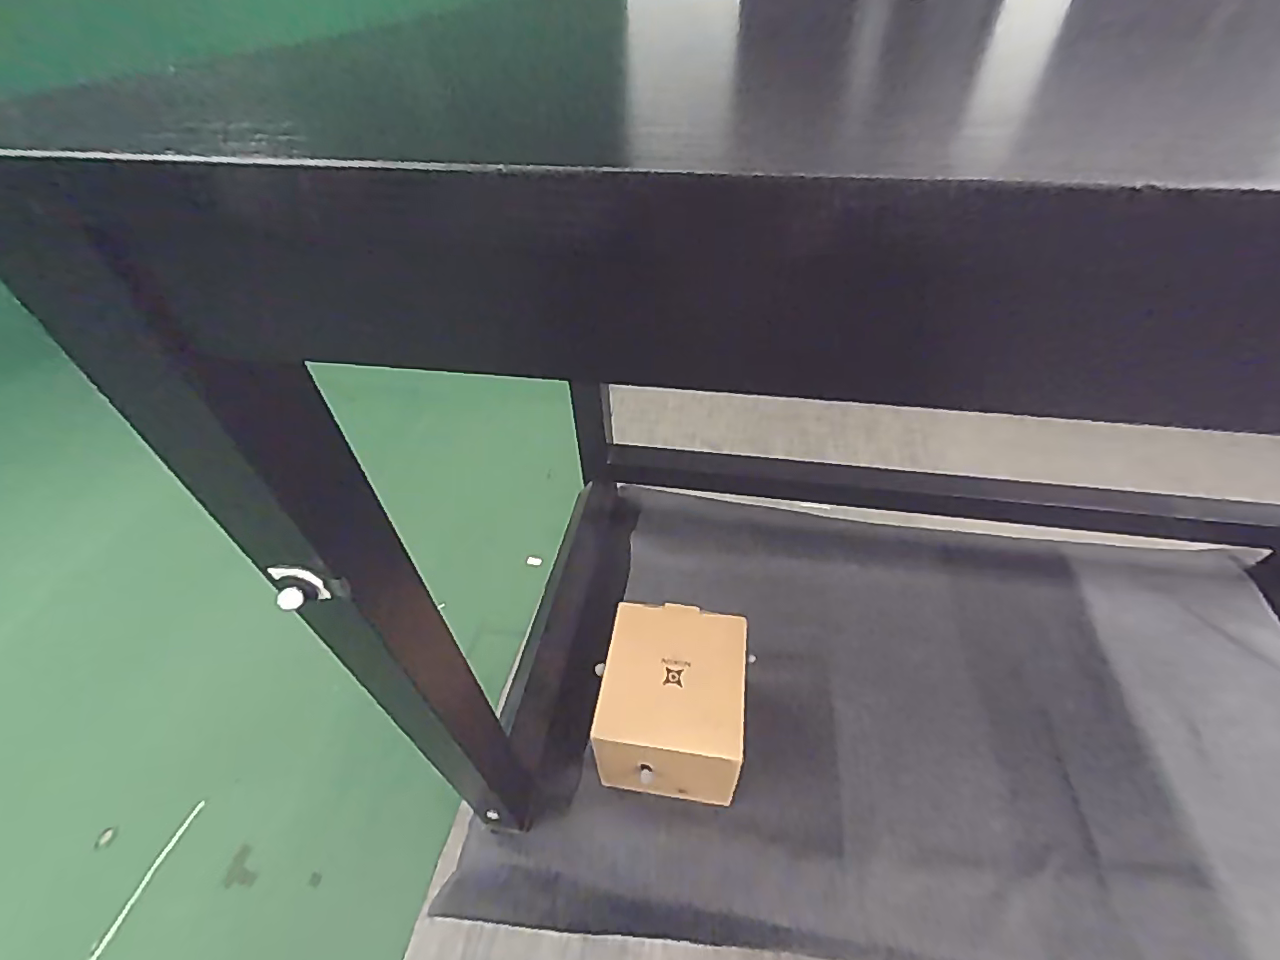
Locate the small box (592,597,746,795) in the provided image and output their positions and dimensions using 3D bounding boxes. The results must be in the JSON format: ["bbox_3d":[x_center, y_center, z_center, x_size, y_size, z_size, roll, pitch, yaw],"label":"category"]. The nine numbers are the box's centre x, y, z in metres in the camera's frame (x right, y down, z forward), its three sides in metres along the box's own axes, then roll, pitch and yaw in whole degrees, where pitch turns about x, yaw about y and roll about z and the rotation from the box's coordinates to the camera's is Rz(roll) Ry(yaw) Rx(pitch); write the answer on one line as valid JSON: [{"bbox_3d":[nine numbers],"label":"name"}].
[{"bbox_3d":[0.044,0.275,0.687,0.168,0.176,0.179,5,44,8],"label":"small box"}]
